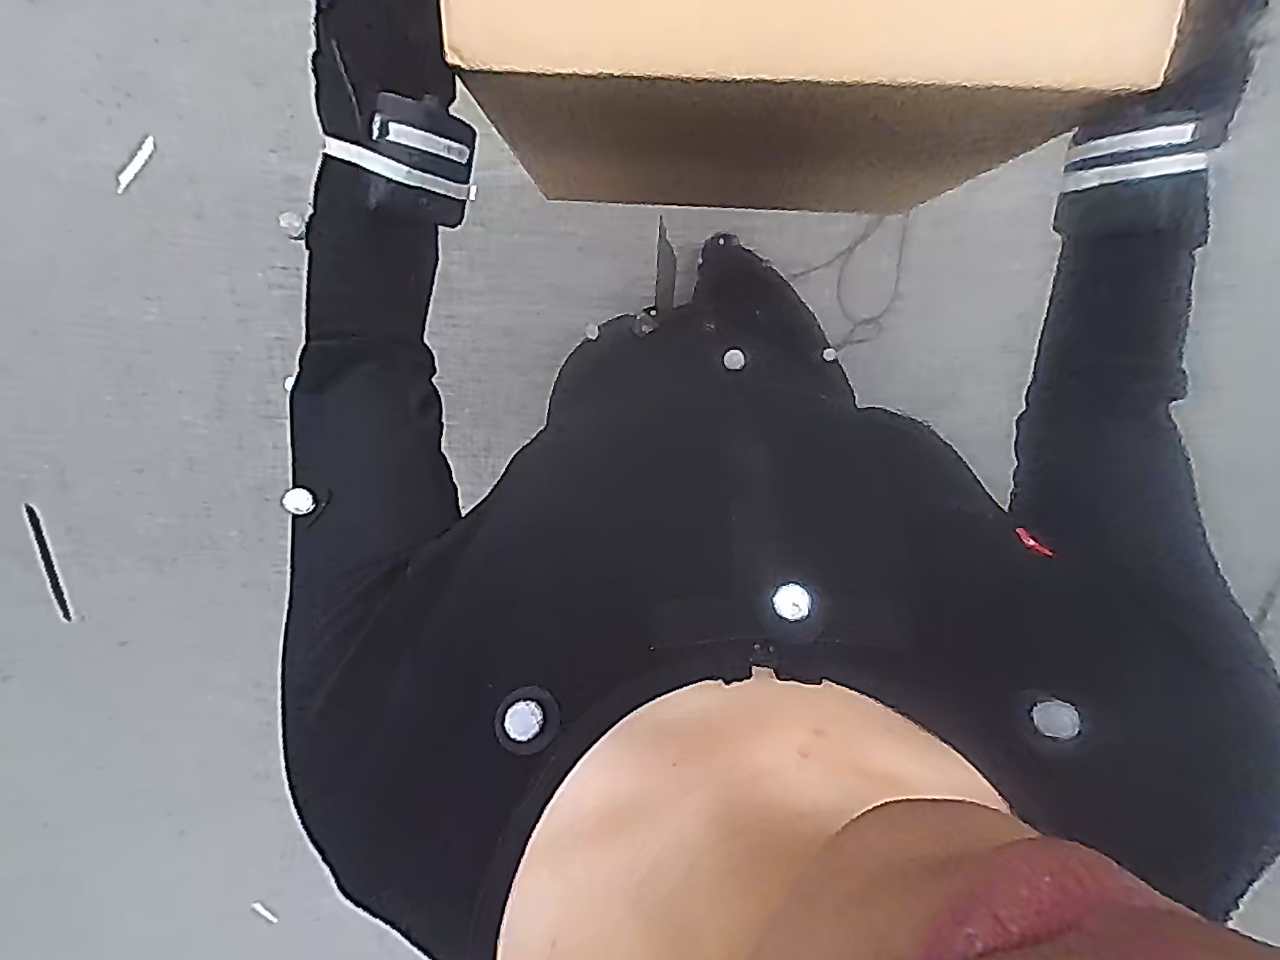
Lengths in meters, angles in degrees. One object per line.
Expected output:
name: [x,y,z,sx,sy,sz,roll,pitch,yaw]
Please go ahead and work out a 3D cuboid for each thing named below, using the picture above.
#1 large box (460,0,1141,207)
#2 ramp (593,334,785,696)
large box: [0.093,-0.423,0.431,0.408,0.320,0.320,1,104,0]
ramp: [0.121,0.115,1.487,0.509,0.206,0.991,1,107,3]
